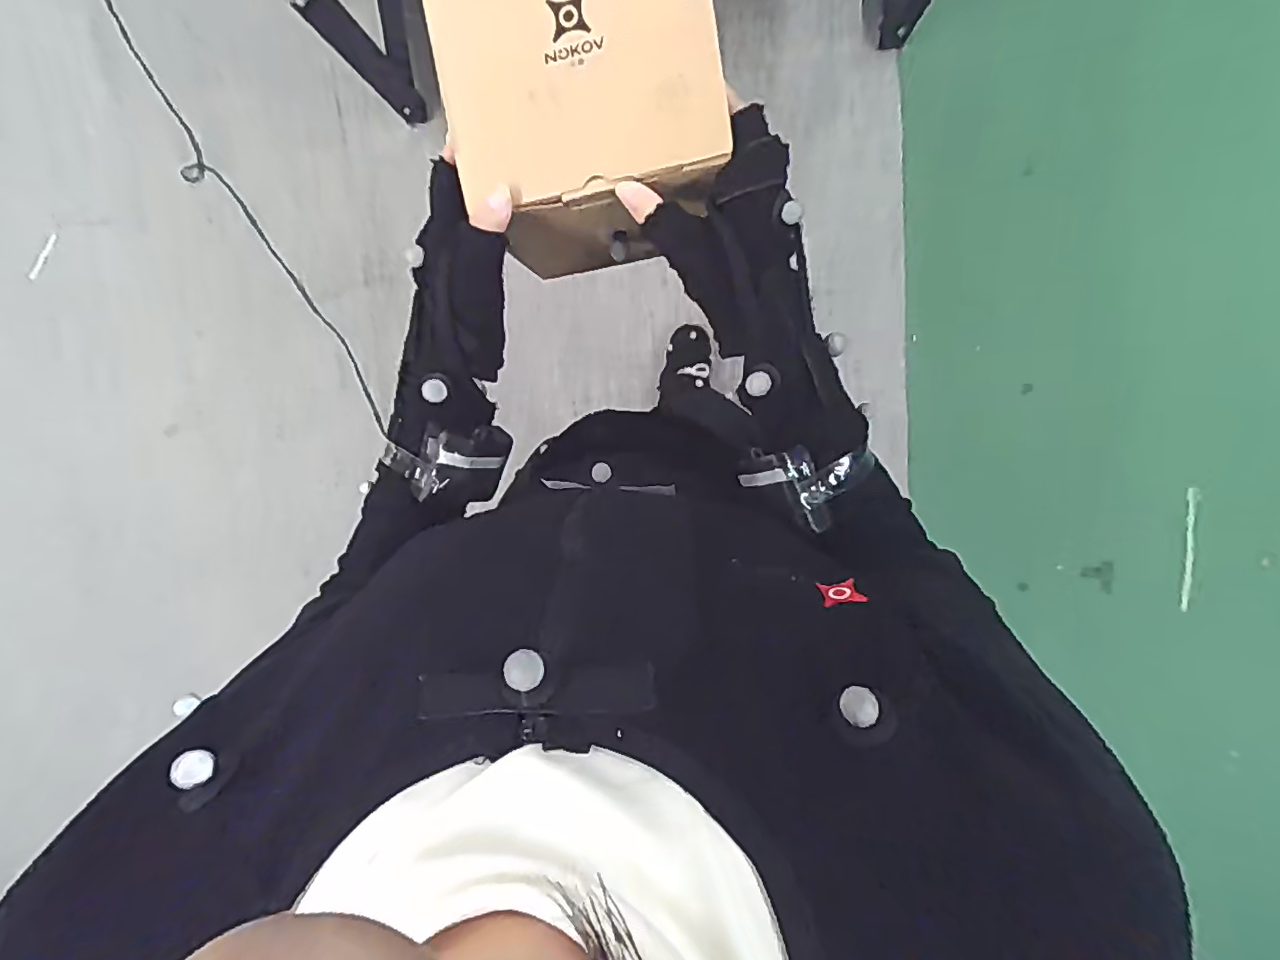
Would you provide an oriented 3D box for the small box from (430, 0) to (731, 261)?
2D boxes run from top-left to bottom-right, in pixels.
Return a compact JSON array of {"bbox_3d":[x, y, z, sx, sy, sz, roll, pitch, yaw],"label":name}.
[{"bbox_3d":[-0.029,-0.272,0.393,0.168,0.176,0.179,-9,98,8],"label":"small box"}]
